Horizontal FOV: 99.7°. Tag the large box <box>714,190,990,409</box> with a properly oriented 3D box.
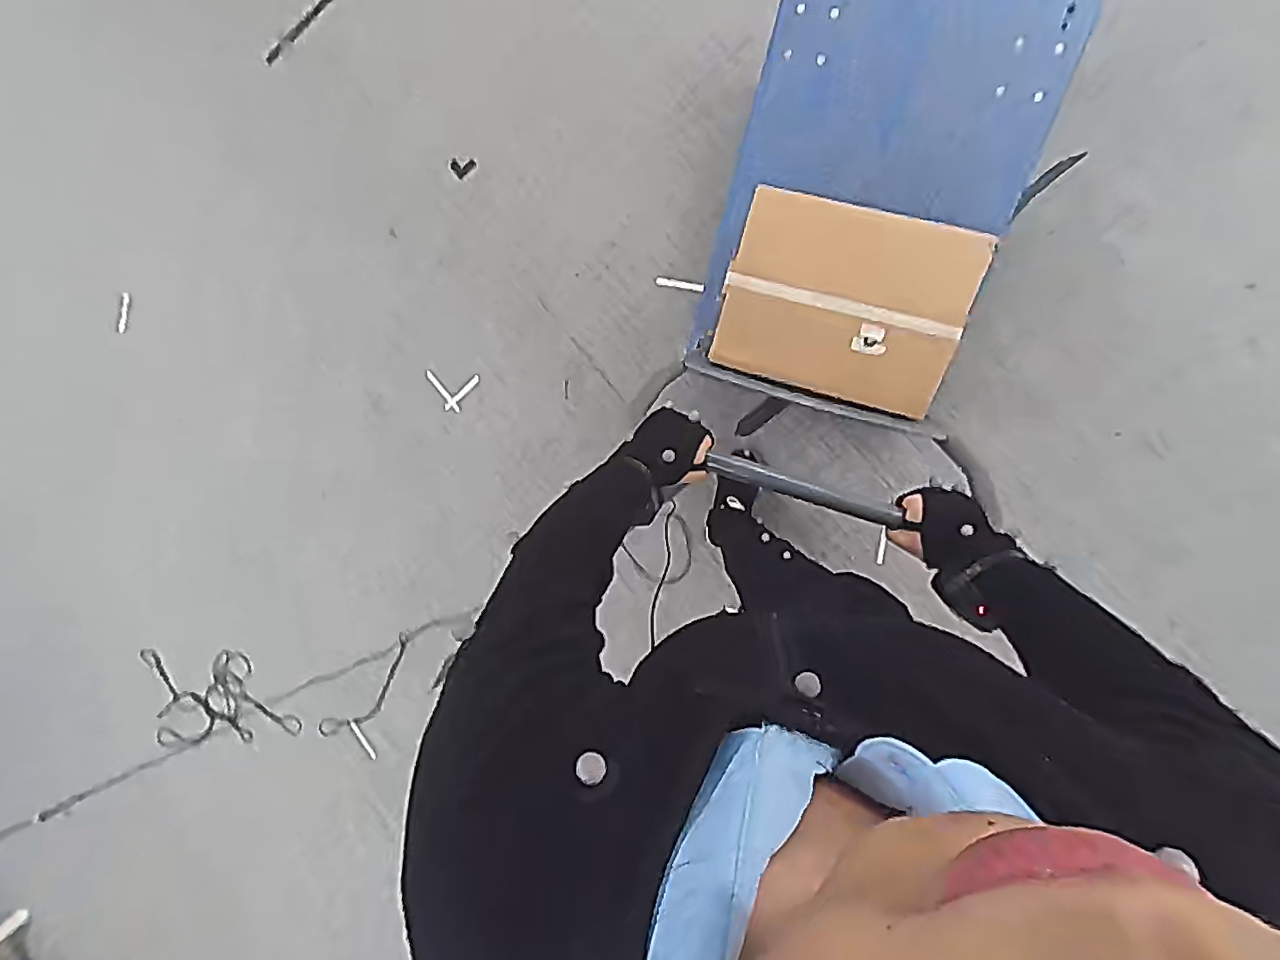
[{"bbox_3d":[0.393,-0.359,1.107,0.408,0.320,0.320,17,110,9],"label":"large box"}]
